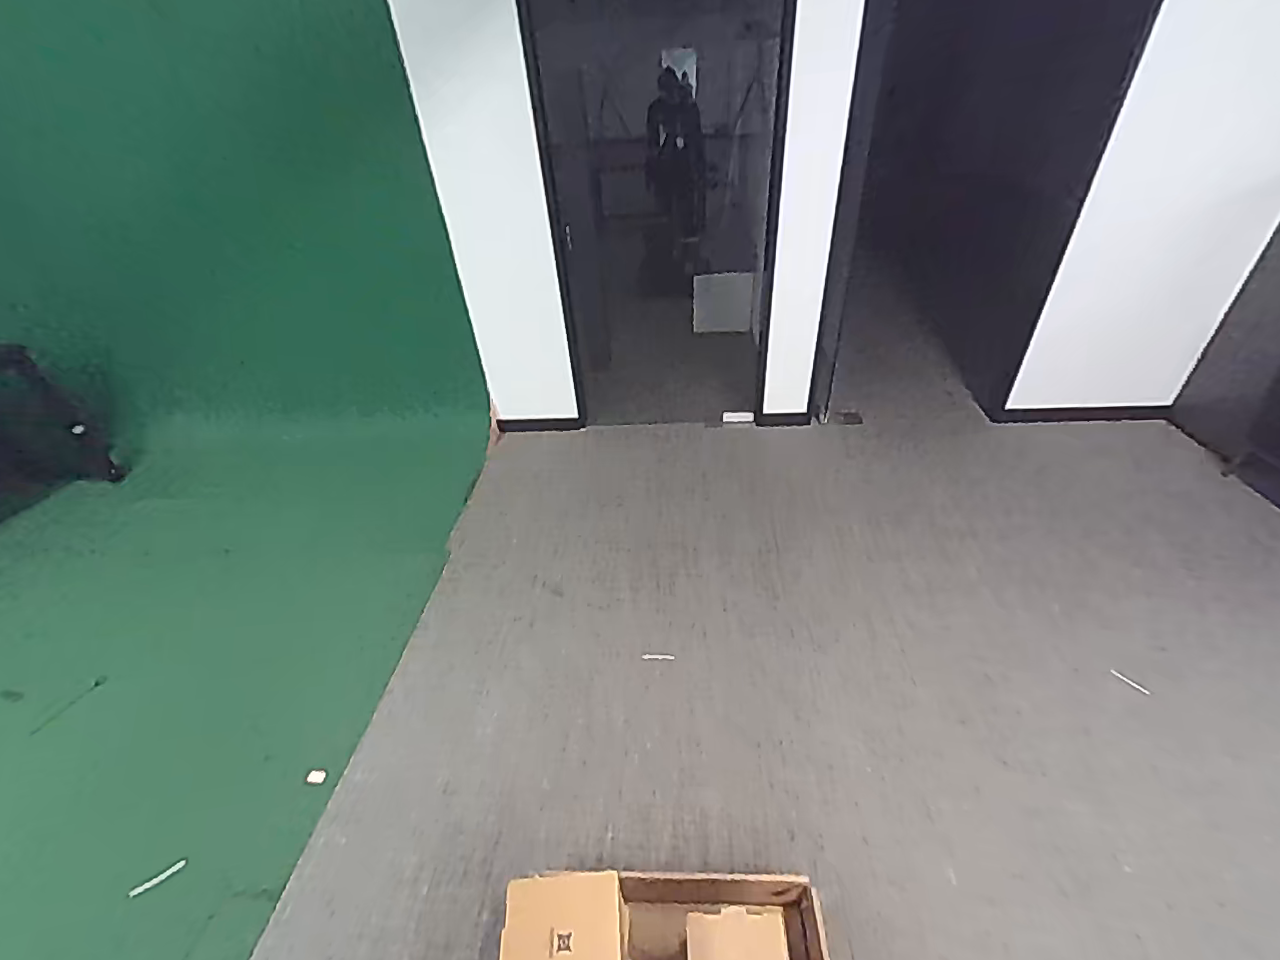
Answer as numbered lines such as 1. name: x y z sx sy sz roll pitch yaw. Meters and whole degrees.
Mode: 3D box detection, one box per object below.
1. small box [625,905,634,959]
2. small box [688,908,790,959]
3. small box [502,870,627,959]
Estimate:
1. small box: -0.099 0.861 0.936 0.168 0.176 0.179 0 39 4
2. small box: 0.166 0.859 0.913 0.168 0.176 0.179 -3 37 3
3. small box: -0.110 0.732 0.838 0.179 0.176 0.168 -5 39 -1
